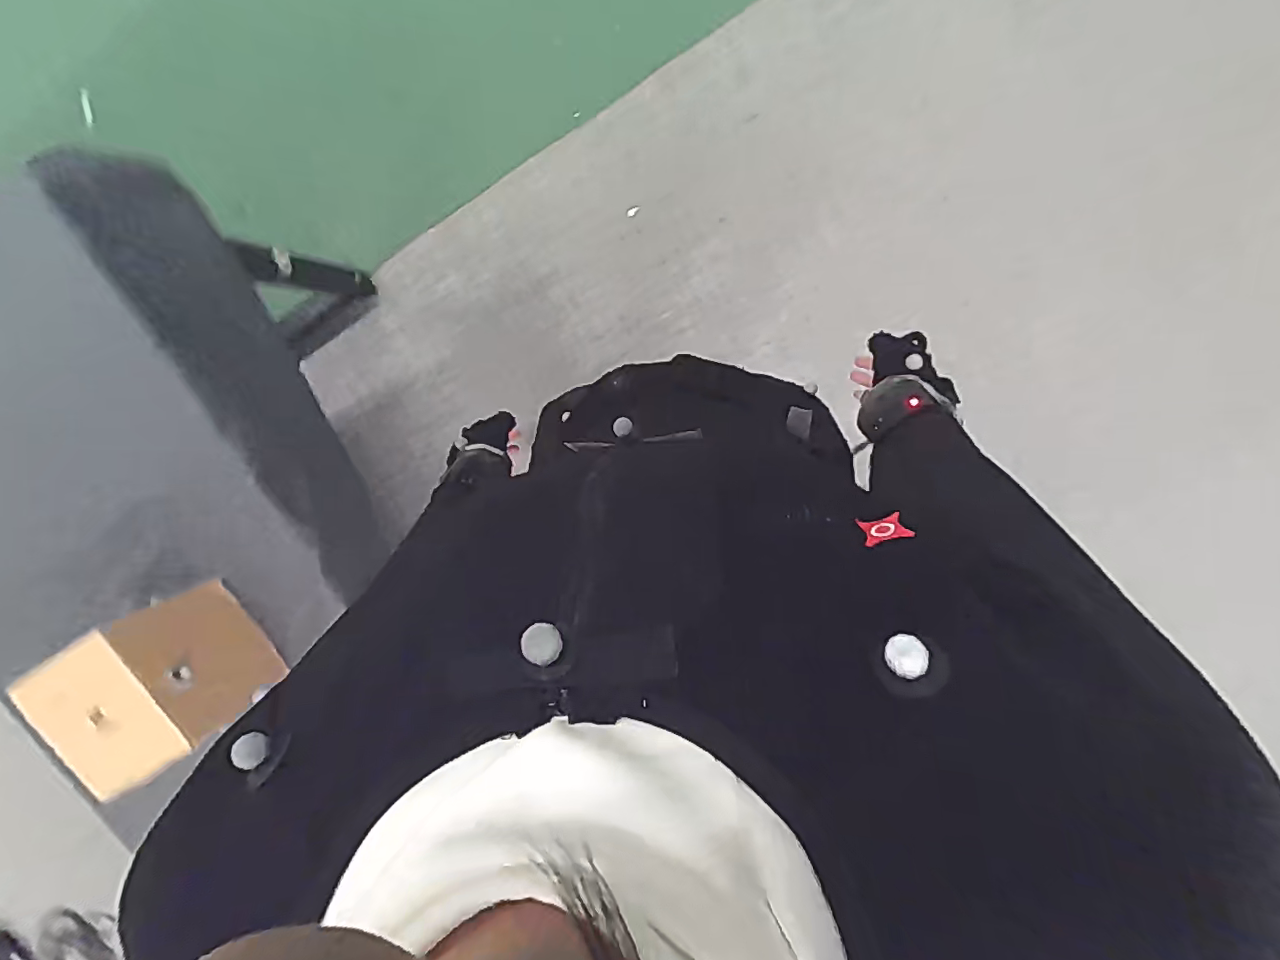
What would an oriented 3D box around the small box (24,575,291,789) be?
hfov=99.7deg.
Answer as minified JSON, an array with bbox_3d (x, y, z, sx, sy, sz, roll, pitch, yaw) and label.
[{"bbox_3d":[-0.626,0.259,0.727,0.168,0.176,0.179,-31,97,11],"label":"small box"}]
